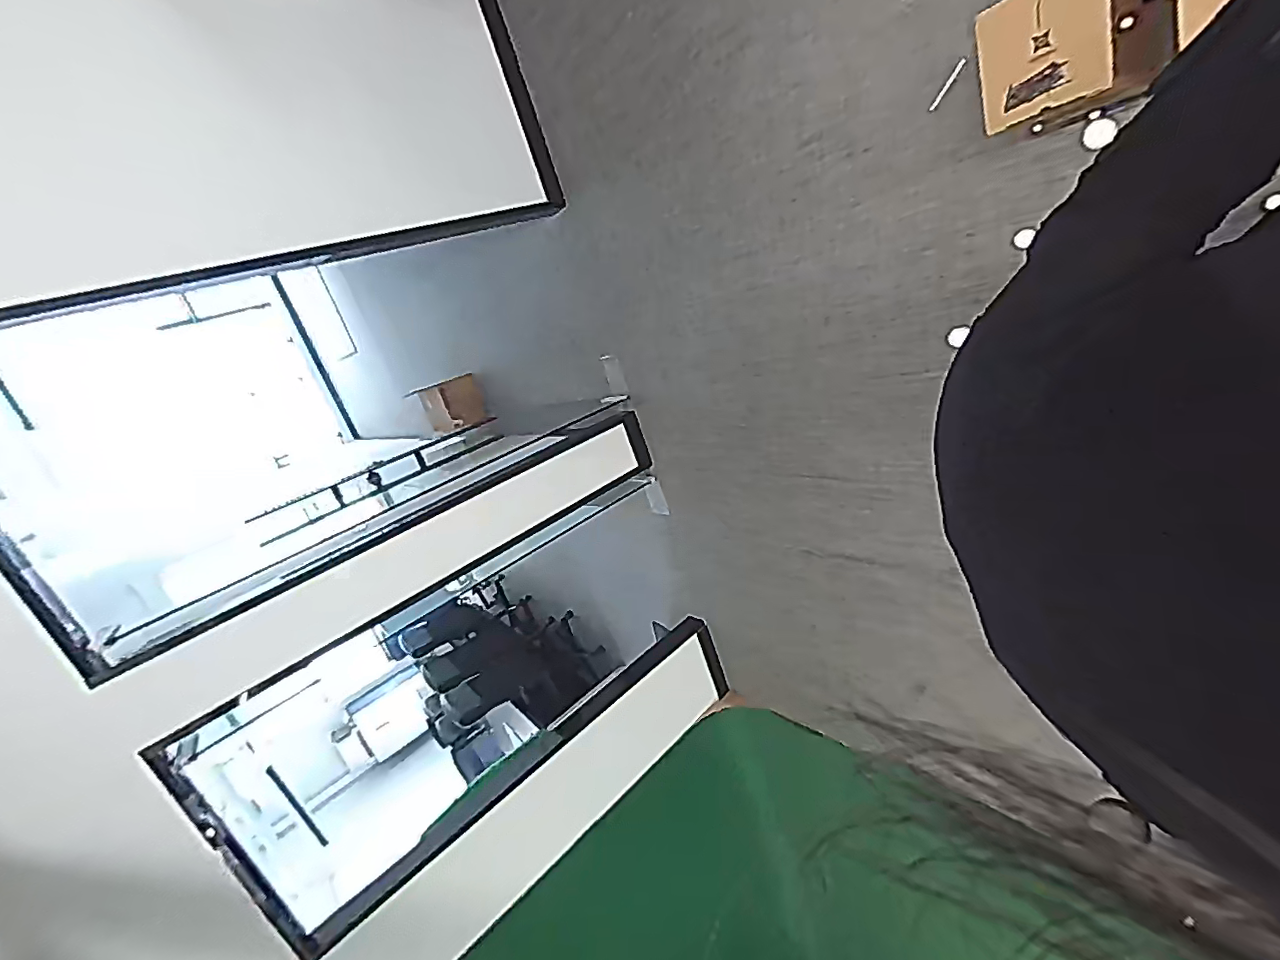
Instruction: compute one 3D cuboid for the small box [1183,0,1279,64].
[{"bbox_3d":[0.810,-0.653,0.669,0.179,0.176,0.168,2,117,54],"label":"small box"}]
